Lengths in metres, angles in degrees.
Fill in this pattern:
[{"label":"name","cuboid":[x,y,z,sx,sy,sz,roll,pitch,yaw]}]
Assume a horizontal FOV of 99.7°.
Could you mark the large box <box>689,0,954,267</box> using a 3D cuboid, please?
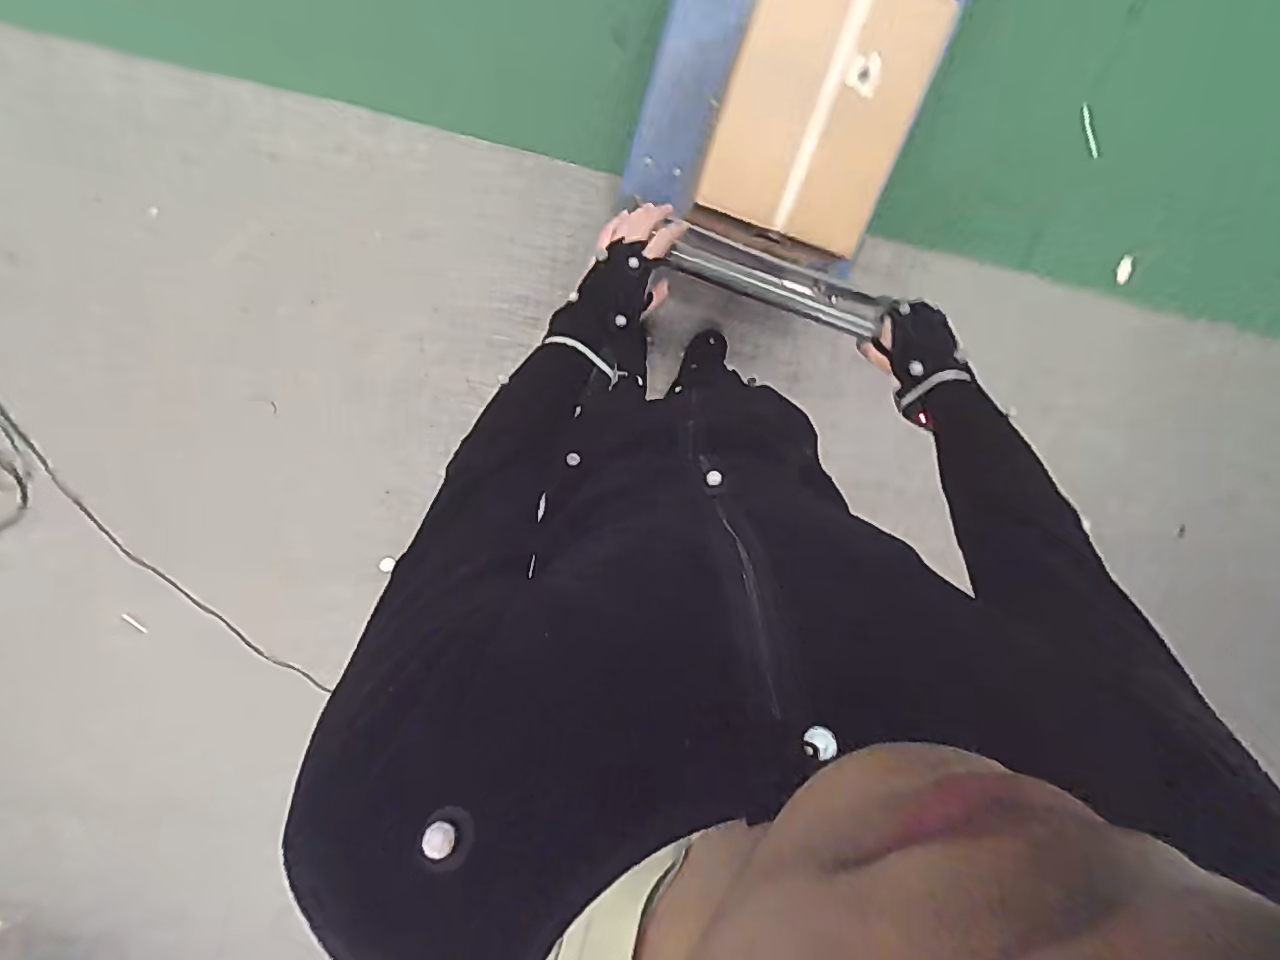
[{"label":"large box","cuboid":[0.310,-0.675,1.068,0.320,0.320,0.408,17,109,-7]}]
